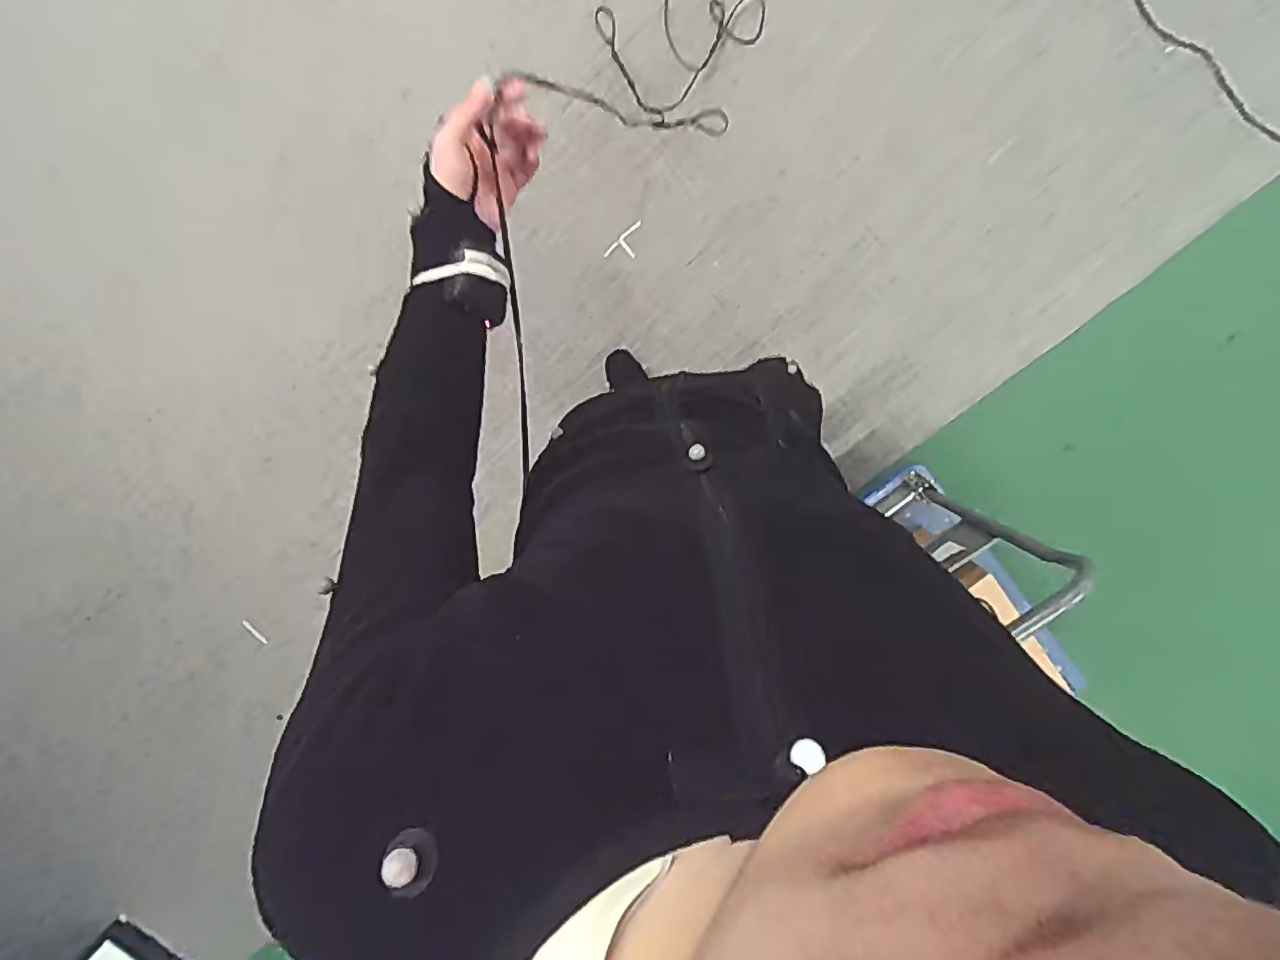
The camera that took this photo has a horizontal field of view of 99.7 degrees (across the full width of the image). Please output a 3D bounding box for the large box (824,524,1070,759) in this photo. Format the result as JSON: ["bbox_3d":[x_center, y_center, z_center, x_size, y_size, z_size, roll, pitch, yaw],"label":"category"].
[{"bbox_3d":[0.744,0.389,1.366,0.320,0.320,0.408,-37,102,10],"label":"large box"}]
